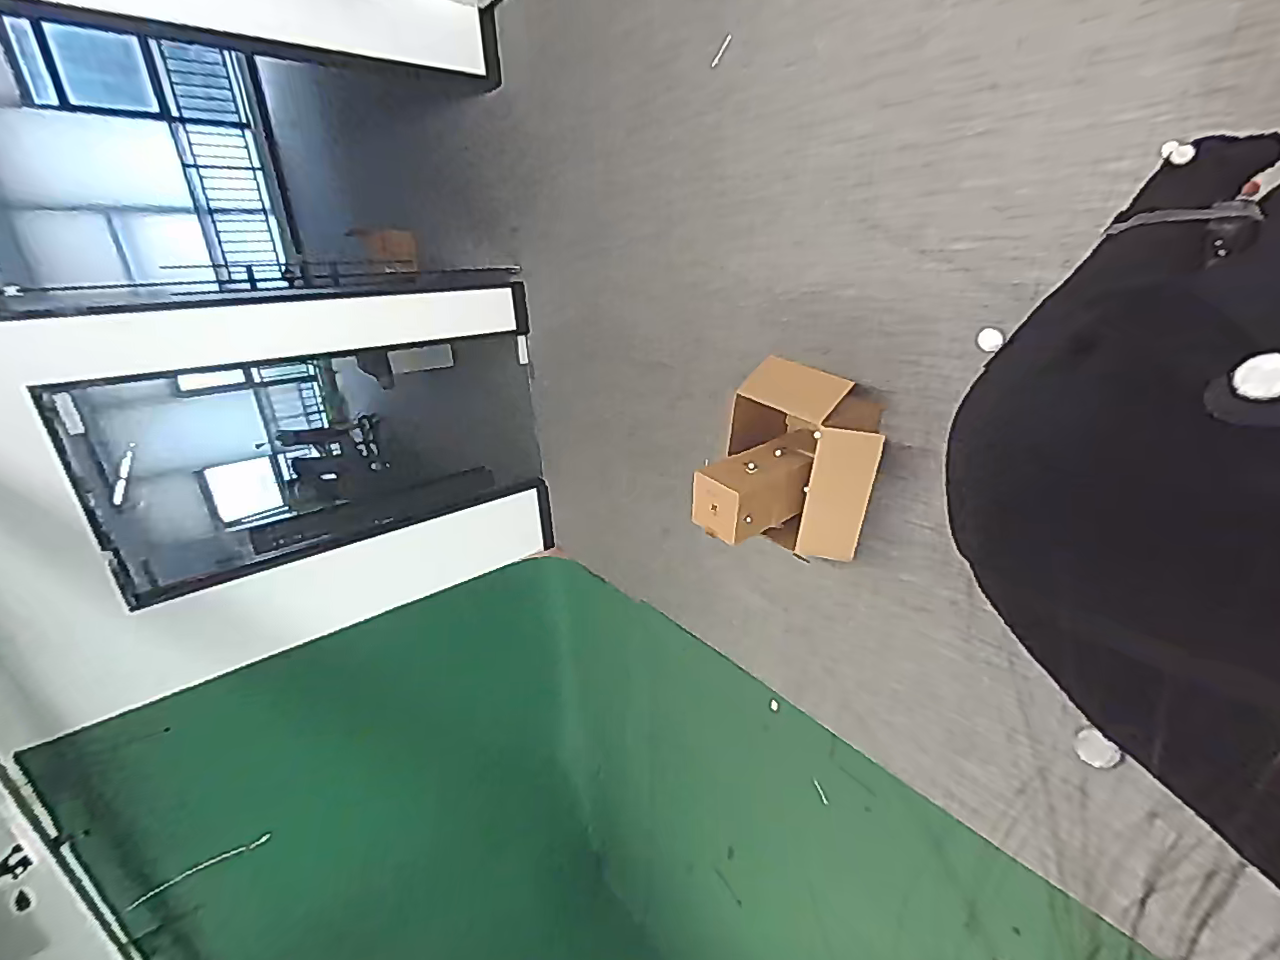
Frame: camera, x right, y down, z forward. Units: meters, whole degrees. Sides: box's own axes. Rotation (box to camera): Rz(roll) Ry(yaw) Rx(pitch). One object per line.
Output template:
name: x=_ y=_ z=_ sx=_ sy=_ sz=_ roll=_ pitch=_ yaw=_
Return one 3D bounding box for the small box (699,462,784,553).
small box: x=0.287 y=0.072 z=1.530 sx=0.168 sy=0.176 sz=0.179 roll=29 pitch=130 yaw=43
